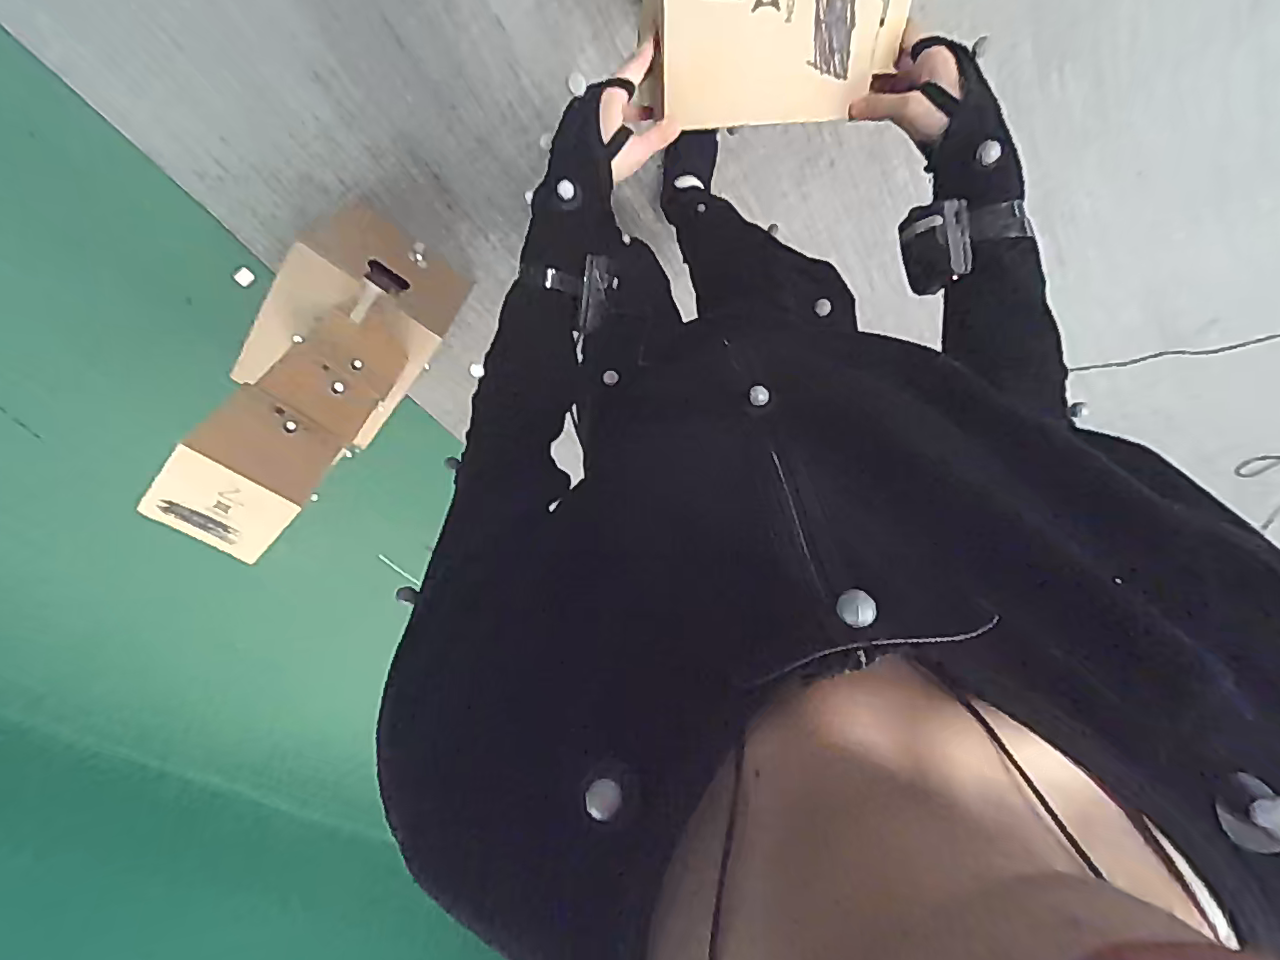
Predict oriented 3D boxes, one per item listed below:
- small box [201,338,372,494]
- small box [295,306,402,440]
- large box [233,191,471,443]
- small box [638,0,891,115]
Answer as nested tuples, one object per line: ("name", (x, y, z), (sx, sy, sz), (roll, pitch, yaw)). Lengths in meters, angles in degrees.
("small box", (-0.613, -0.114, 0.959), (0.179, 0.176, 0.168), (-34, 123, 24))
("small box", (-0.613, -0.214, 1.087), (0.168, 0.176, 0.179), (-35, 123, 25))
("large box", (-0.658, -0.375, 1.271), (0.320, 0.320, 0.408), (35, 123, -26))
("small box", (0.095, -0.417, 0.454), (0.179, 0.176, 0.168), (-6, 130, -5))
